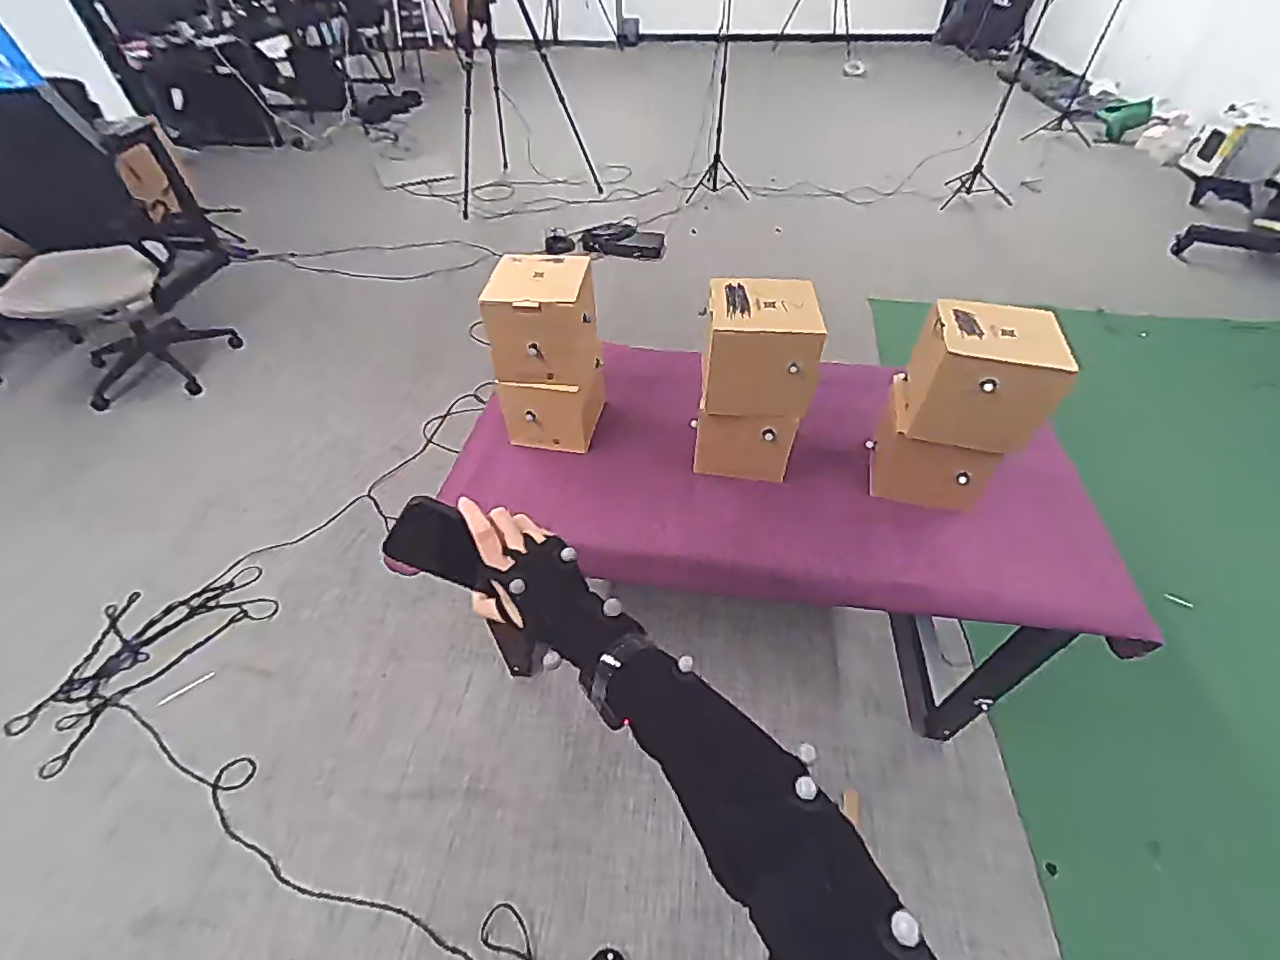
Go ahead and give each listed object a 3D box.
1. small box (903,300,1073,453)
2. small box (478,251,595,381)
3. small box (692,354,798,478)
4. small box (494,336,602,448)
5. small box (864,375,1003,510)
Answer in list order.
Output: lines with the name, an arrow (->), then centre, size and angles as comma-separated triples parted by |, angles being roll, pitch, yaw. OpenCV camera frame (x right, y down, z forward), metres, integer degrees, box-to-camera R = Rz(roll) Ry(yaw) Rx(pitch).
small box -> 0.538, -0.164, 0.871 | 0.179, 0.176, 0.168 | 12, 49, 11
small box -> -0.179, -0.302, 1.004 | 0.168, 0.176, 0.179 | 5, 49, 4
small box -> 0.202, -0.121, 1.055 | 0.179, 0.176, 0.168 | 7, 48, 8
small box -> -0.179, -0.186, 1.120 | 0.168, 0.176, 0.179 | 8, 48, 8
small box -> 0.534, -0.067, 1.003 | 0.179, 0.176, 0.168 | 12, 49, 12
